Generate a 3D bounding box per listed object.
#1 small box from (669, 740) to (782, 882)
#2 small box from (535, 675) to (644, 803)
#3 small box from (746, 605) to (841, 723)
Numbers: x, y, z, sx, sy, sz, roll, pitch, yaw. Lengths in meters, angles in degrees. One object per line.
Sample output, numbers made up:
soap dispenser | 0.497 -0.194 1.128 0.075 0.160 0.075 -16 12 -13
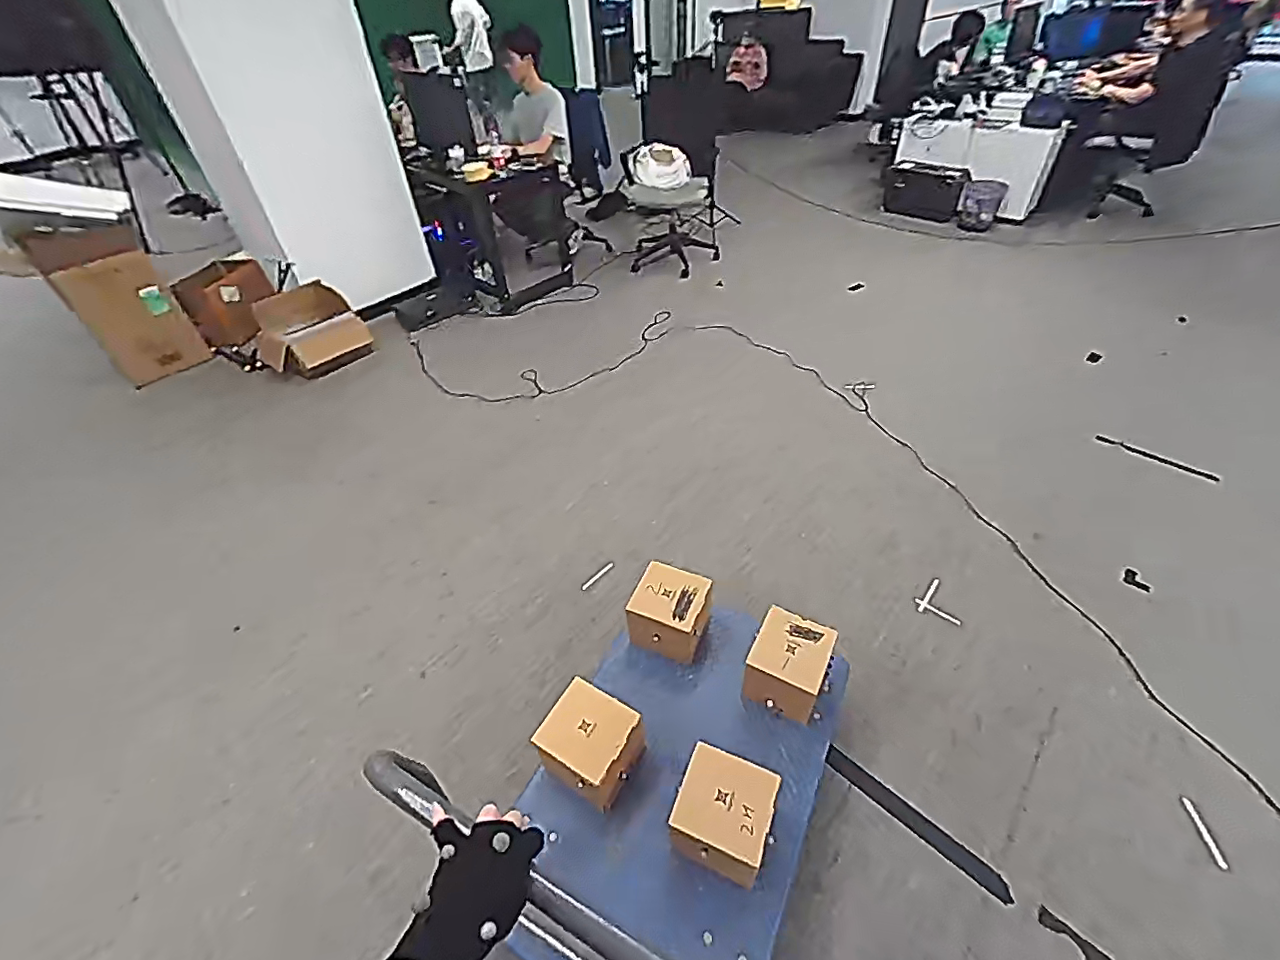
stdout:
small box | 0.168 0.661 1.078 0.179 0.176 0.168 16 47 20
small box | -0.105 0.574 1.194 0.179 0.176 0.168 22 49 23
small box | 0.361 0.441 1.296 0.168 0.176 0.179 20 50 24
